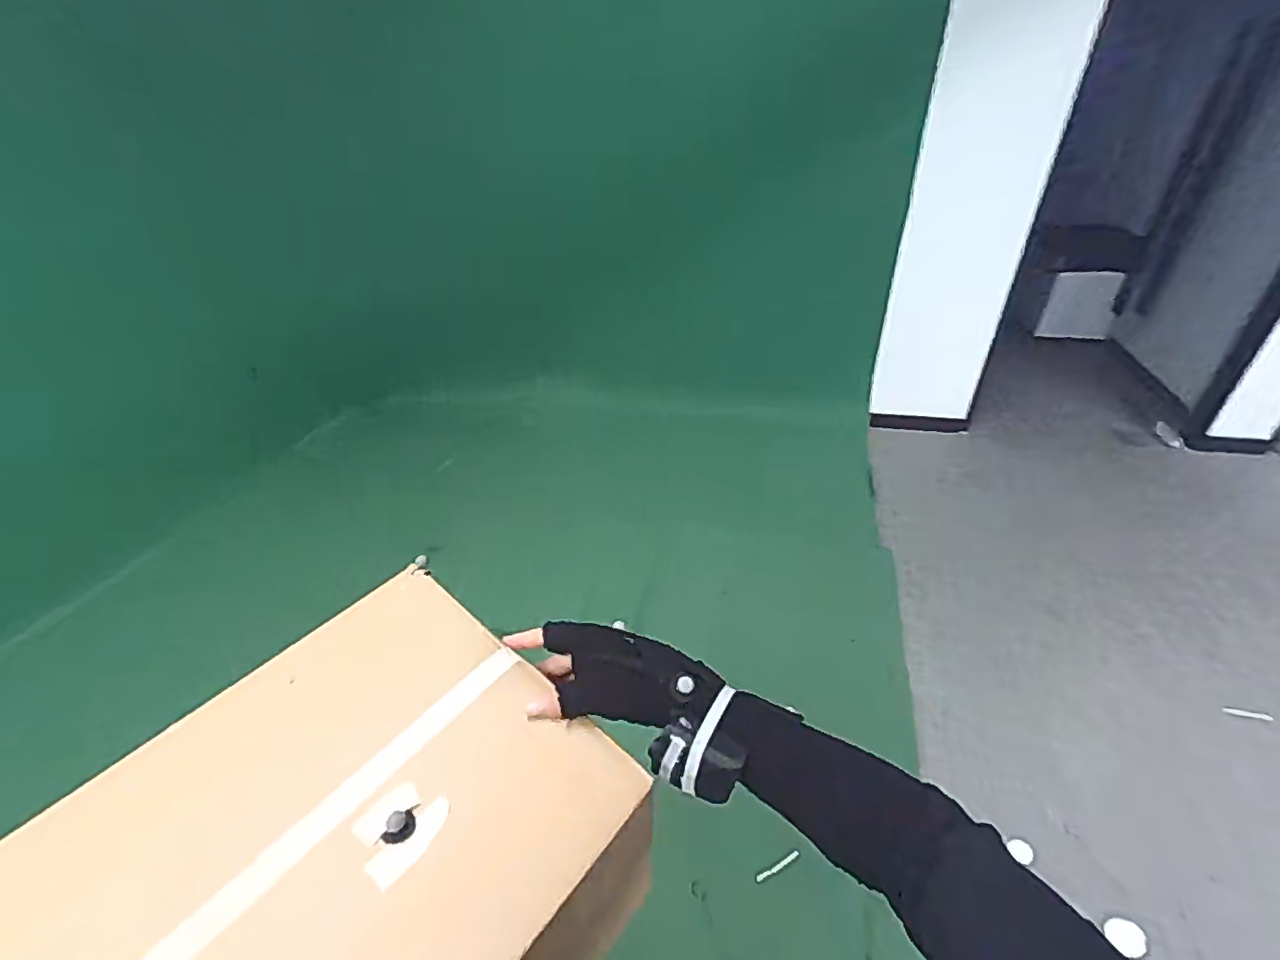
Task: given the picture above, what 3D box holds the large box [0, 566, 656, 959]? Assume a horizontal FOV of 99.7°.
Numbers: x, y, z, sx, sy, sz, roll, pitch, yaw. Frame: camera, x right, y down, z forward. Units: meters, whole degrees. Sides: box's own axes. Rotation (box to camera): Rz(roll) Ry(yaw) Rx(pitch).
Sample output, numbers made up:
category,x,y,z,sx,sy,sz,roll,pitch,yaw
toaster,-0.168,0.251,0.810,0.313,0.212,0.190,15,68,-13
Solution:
category,x,y,z,sx,sy,sz,roll,pitch,yaw
large box,-0.225,0.365,0.476,0.320,0.320,0.408,30,50,29
